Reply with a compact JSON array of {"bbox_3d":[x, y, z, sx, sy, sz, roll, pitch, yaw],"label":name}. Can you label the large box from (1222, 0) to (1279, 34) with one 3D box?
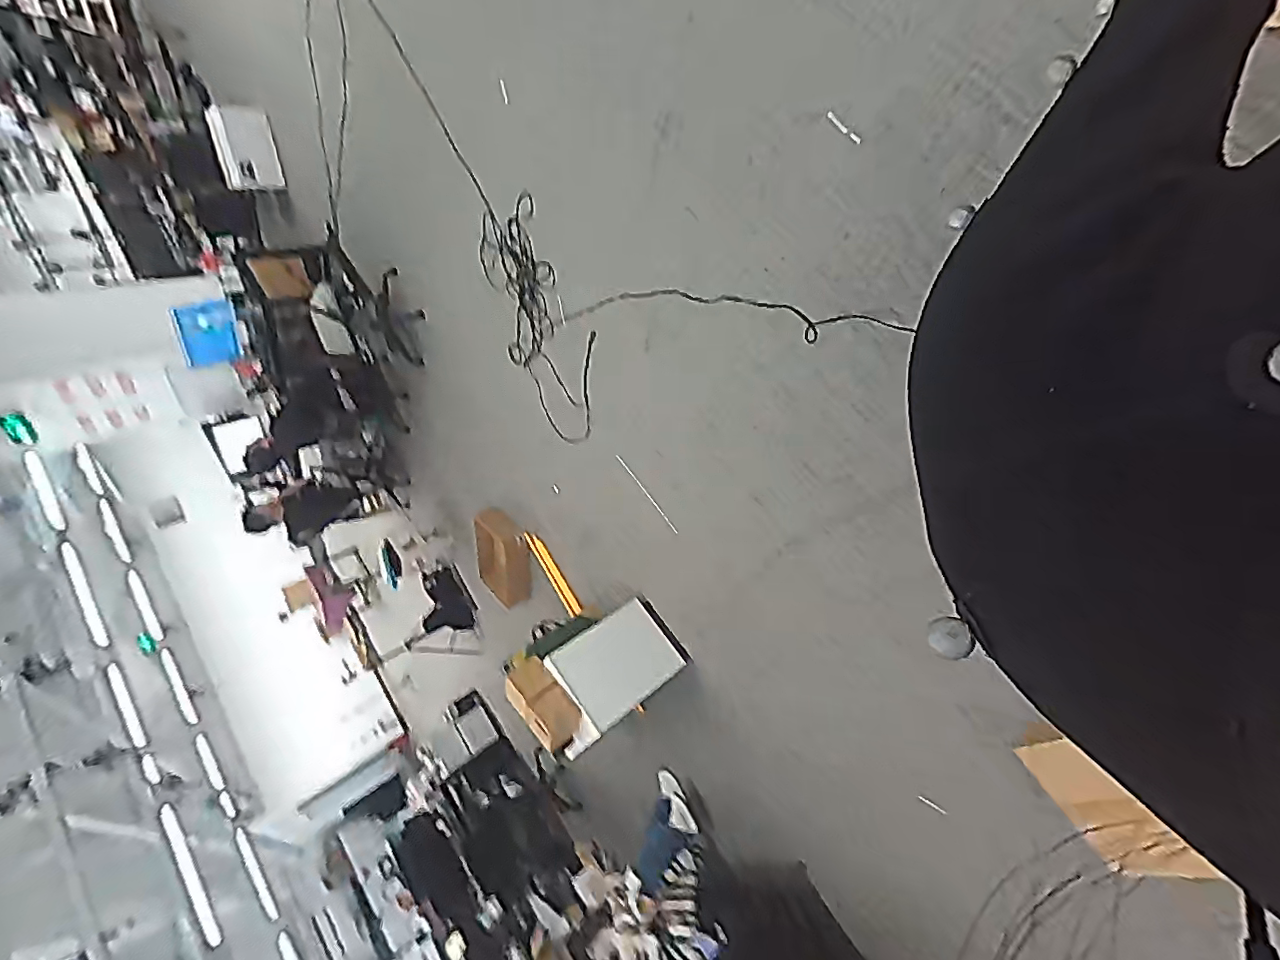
[{"bbox_3d":[0.709,-0.479,0.303,0.408,0.320,0.320,33,136,43],"label":"large box"}]
